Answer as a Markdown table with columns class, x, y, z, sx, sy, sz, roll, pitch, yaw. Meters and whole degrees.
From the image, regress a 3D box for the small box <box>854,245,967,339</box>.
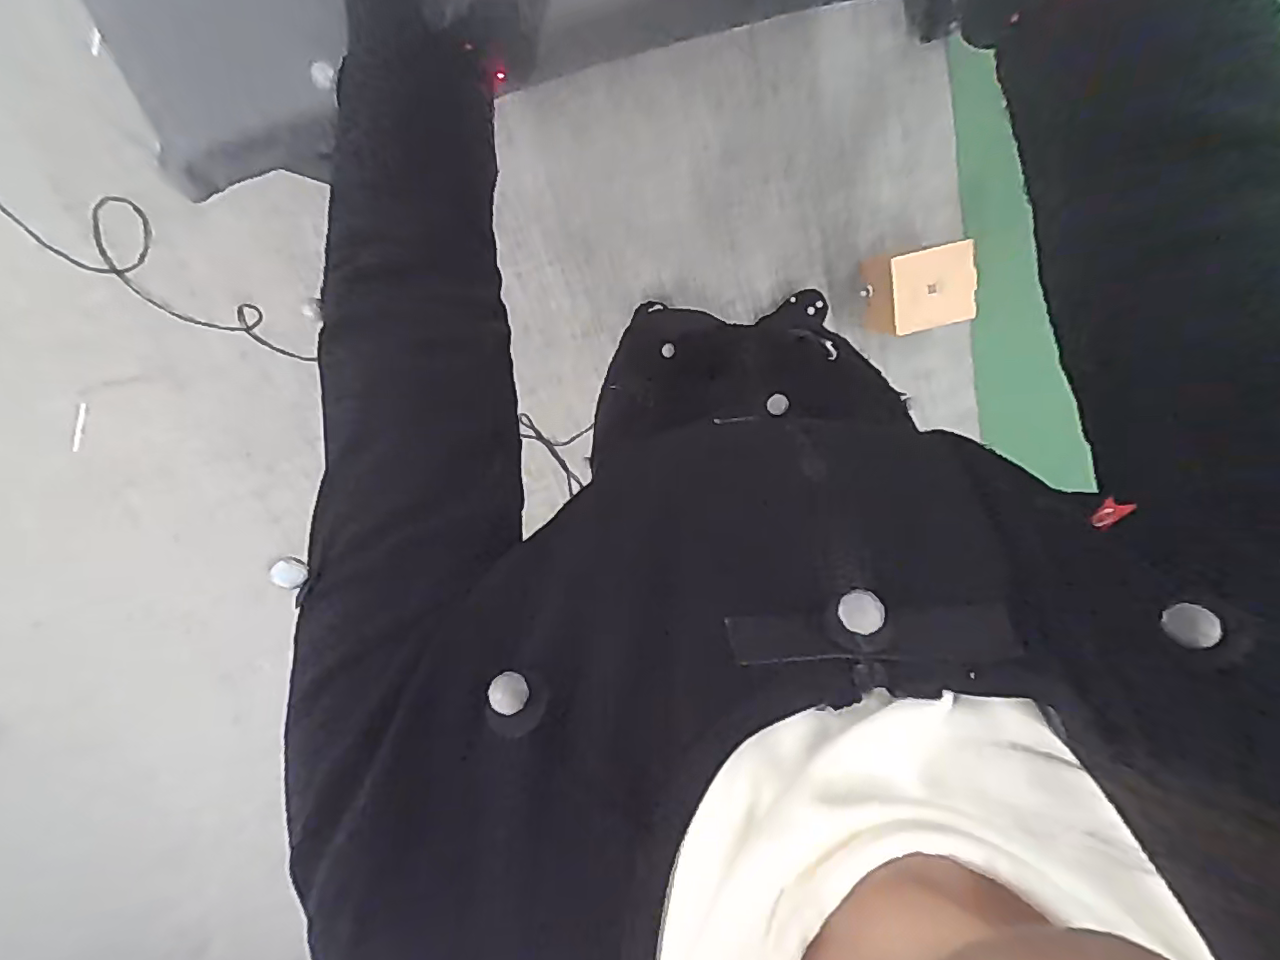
| class | x | y | z | sx | sy | sz | roll | pitch | yaw |
| --- | --- | --- | --- | --- | --- | --- | --- | --- | --- |
| small box | 0.612 | -0.430 | 1.235 | 0.179 | 0.176 | 0.168 | -12 | 109 | 4 |
